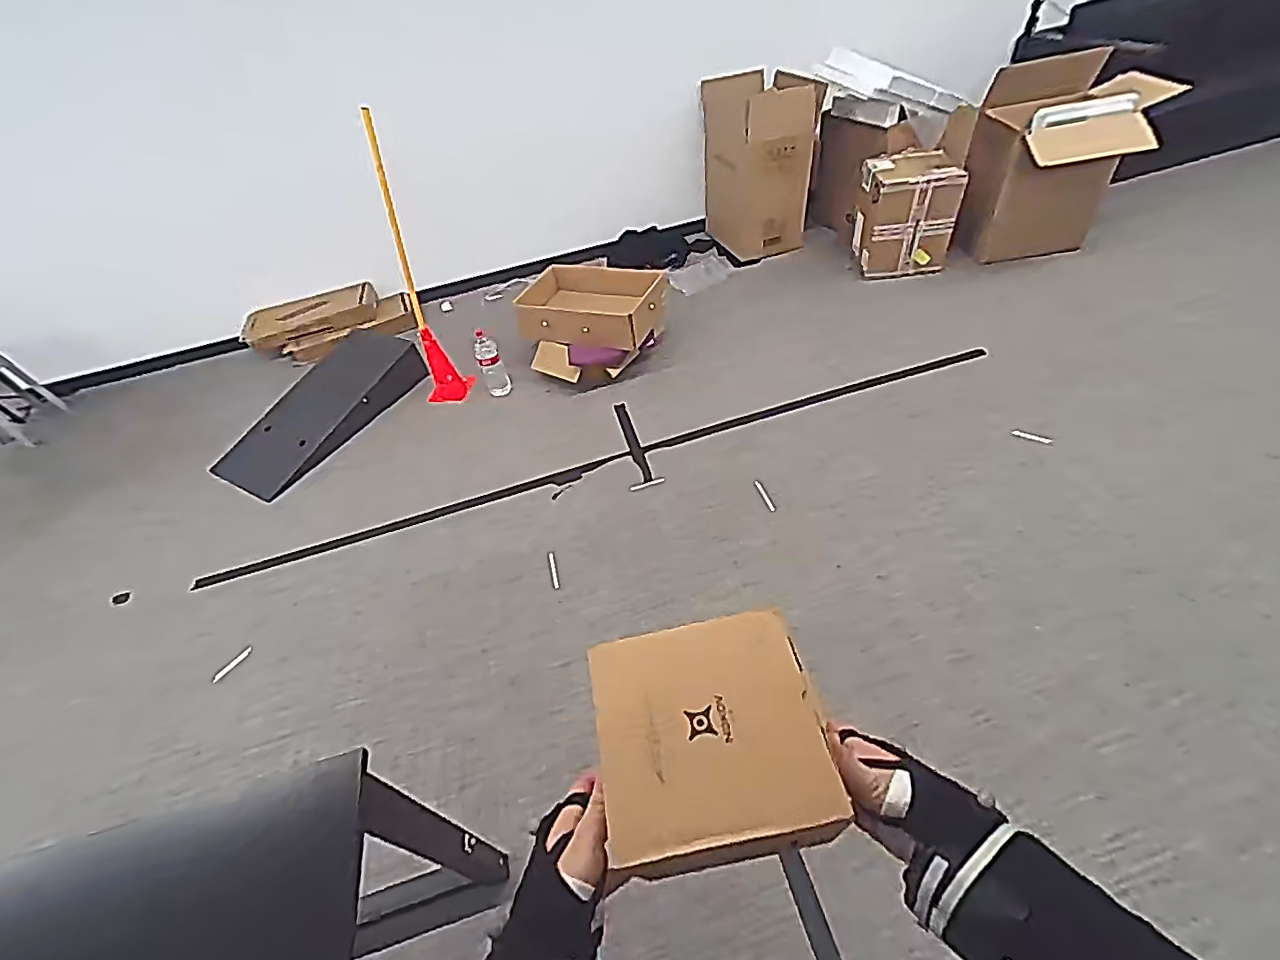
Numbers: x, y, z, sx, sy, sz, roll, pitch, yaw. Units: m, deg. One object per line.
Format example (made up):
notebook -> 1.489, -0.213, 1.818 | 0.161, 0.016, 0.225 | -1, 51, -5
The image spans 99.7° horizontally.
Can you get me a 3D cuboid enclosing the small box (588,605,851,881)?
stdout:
small box -> 0.064, 0.240, 0.488 | 0.179, 0.176, 0.168 | -15, 48, 1
